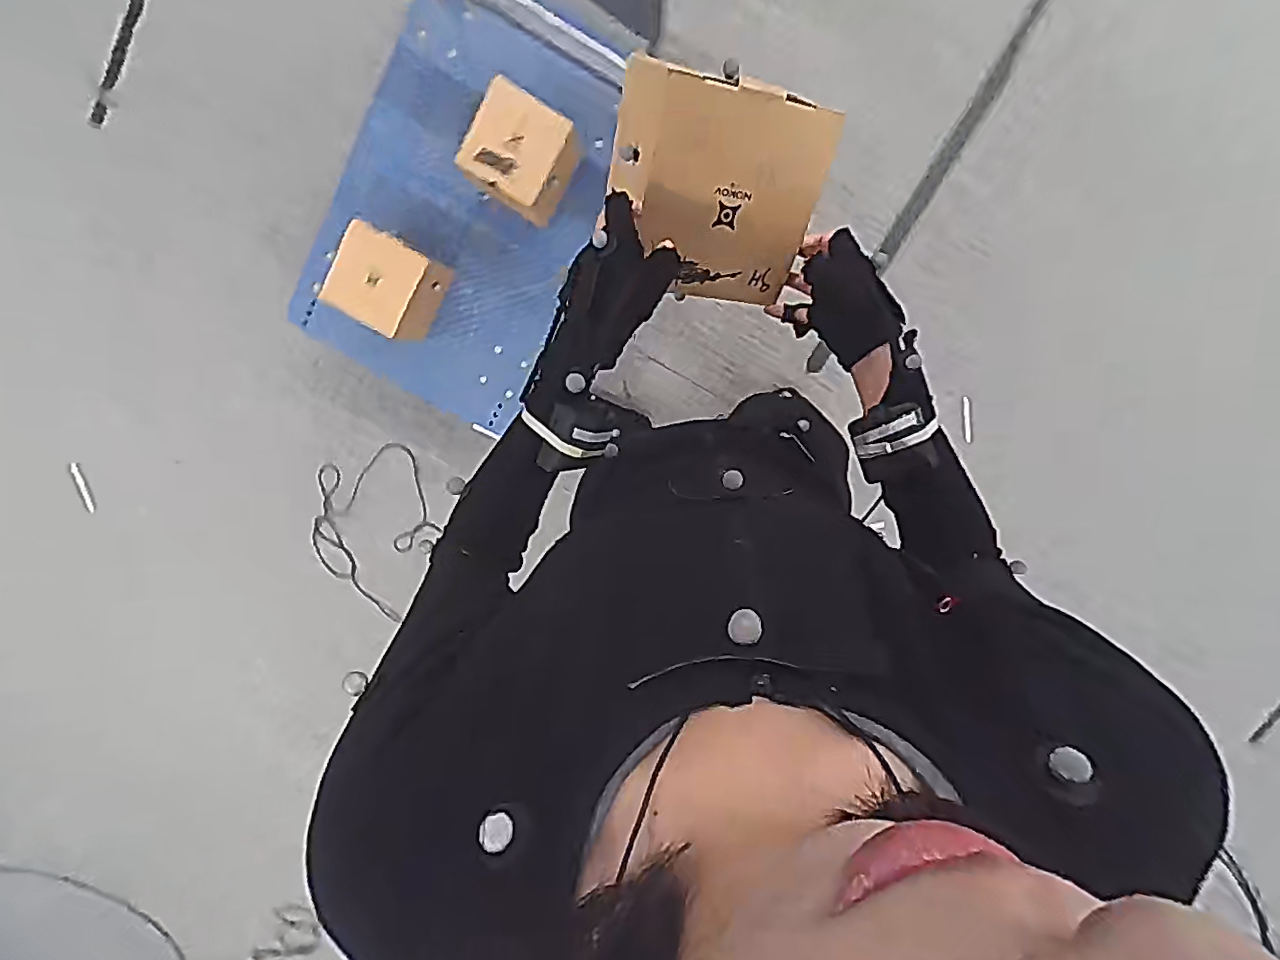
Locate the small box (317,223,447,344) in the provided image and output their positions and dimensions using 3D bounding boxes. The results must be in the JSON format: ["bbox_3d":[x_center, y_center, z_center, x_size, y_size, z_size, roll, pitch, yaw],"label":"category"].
[{"bbox_3d":[-0.539,-0.410,1.159,0.168,0.176,0.179,29,101,-5],"label":"small box"}]

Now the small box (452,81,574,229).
[{"bbox_3d":[-0.249,-0.648,1.108,0.168,0.176,0.179,31,100,-6],"label":"small box"}]
